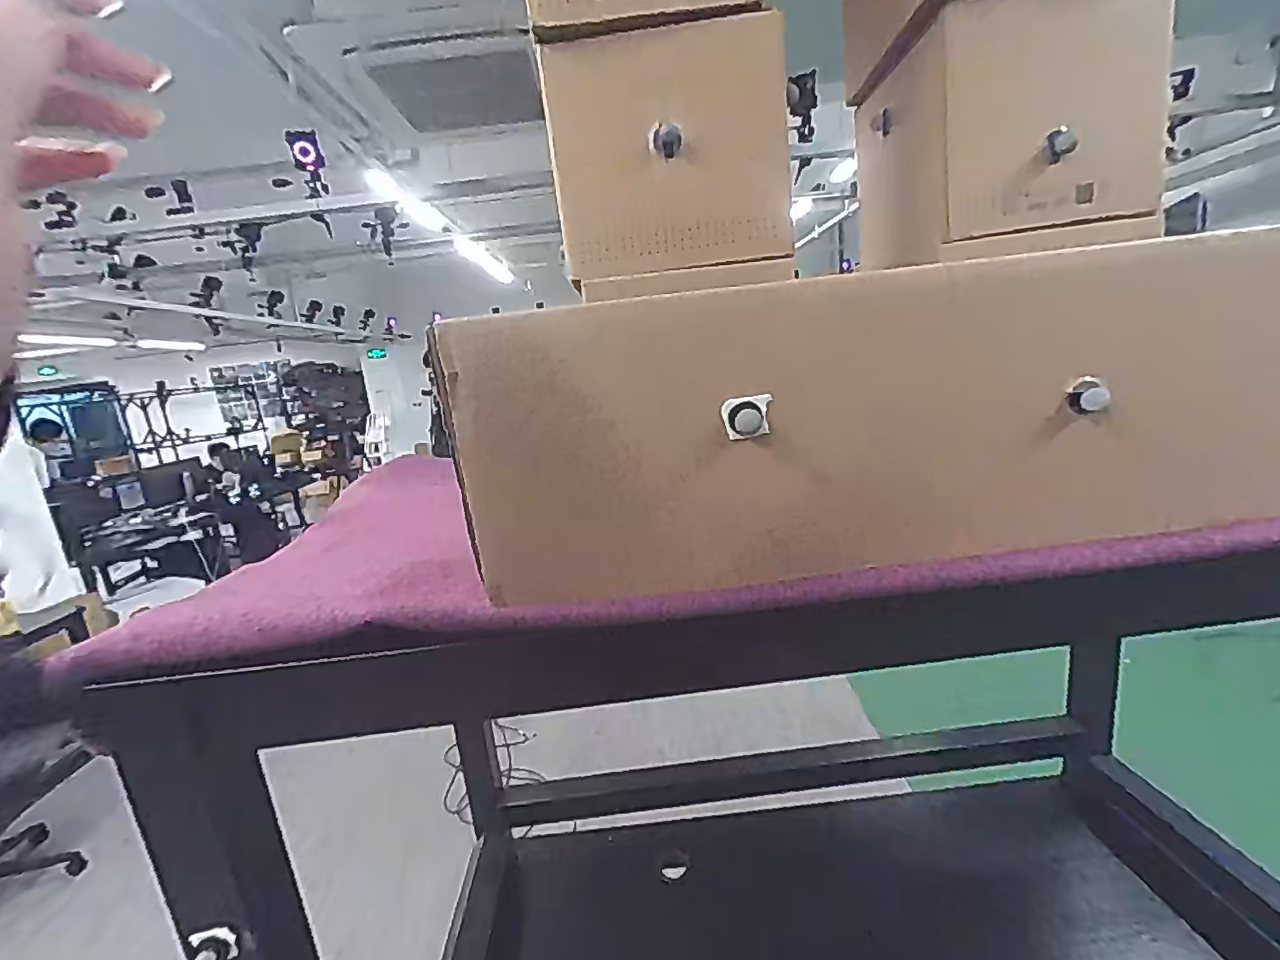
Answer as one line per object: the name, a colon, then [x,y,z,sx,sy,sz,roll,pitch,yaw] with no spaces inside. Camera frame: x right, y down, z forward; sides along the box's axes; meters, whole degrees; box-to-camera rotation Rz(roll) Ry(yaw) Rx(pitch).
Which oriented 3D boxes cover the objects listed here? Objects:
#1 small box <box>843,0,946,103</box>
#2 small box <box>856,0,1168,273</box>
small box: [0.275,-0.449,0.449,0.168,0.176,0.179,-7,12,3]
small box: [0.309,-0.293,0.486,0.168,0.176,0.179,-8,12,2]
